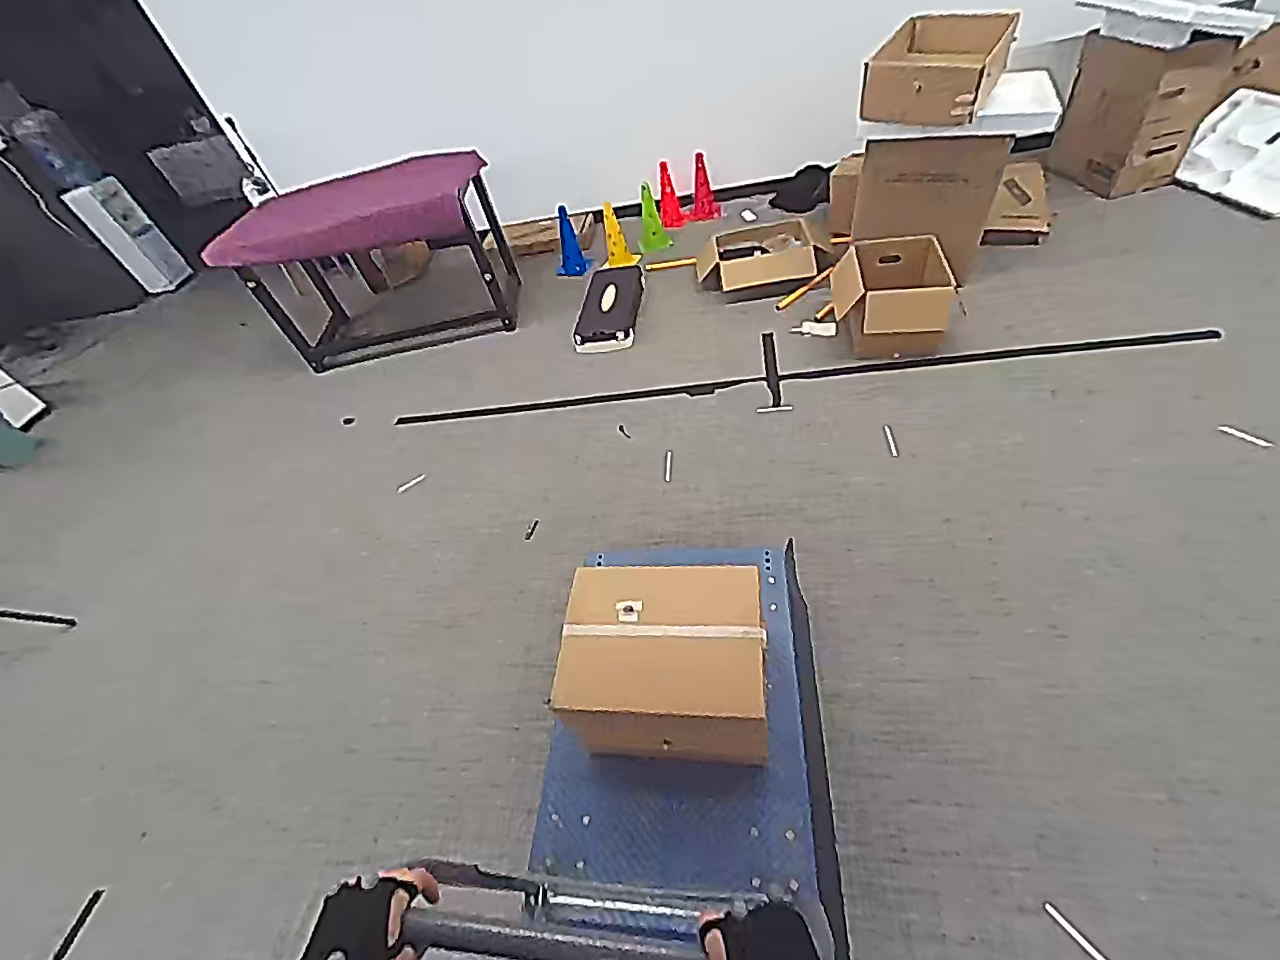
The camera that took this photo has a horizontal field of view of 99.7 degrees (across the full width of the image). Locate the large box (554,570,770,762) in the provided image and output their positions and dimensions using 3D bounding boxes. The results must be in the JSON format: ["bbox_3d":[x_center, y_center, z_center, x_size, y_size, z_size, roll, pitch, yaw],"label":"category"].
[{"bbox_3d":[0.070,0.418,1.202,0.408,0.320,0.320,-4,47,12],"label":"large box"}]
